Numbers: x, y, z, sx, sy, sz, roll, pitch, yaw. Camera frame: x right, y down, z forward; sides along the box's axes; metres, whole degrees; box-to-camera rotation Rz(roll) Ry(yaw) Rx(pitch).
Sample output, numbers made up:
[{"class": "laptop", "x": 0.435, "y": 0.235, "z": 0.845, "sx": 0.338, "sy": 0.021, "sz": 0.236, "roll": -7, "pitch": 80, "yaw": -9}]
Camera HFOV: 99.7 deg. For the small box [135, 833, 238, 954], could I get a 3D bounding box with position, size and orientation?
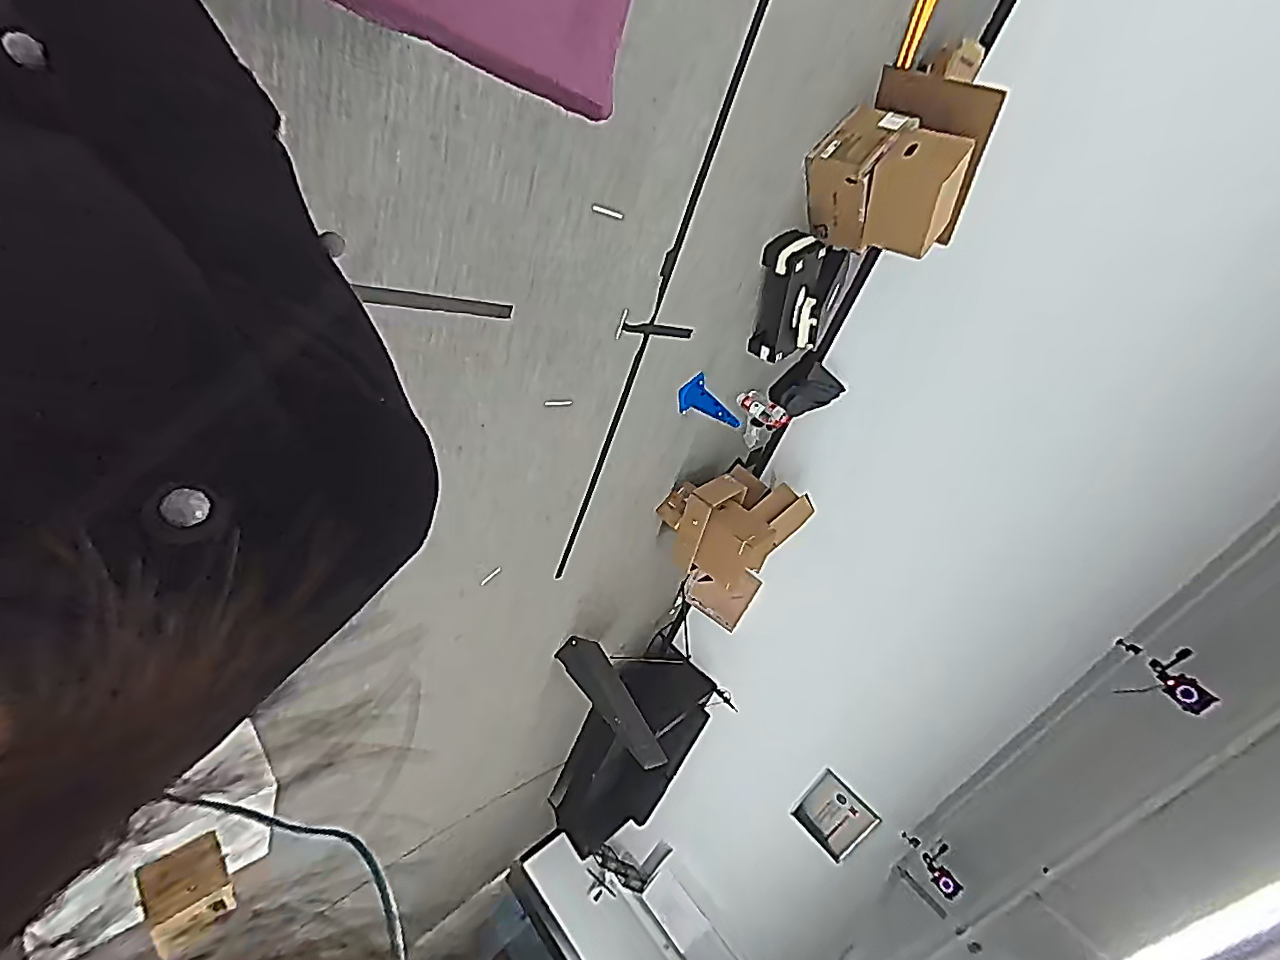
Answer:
[{"class": "small box", "x": -1.236, "y": 1.118, "z": 1.477, "sx": 0.179, "sy": 0.176, "sz": 0.168, "roll": -17, "pitch": 136, "yaw": -44}]
